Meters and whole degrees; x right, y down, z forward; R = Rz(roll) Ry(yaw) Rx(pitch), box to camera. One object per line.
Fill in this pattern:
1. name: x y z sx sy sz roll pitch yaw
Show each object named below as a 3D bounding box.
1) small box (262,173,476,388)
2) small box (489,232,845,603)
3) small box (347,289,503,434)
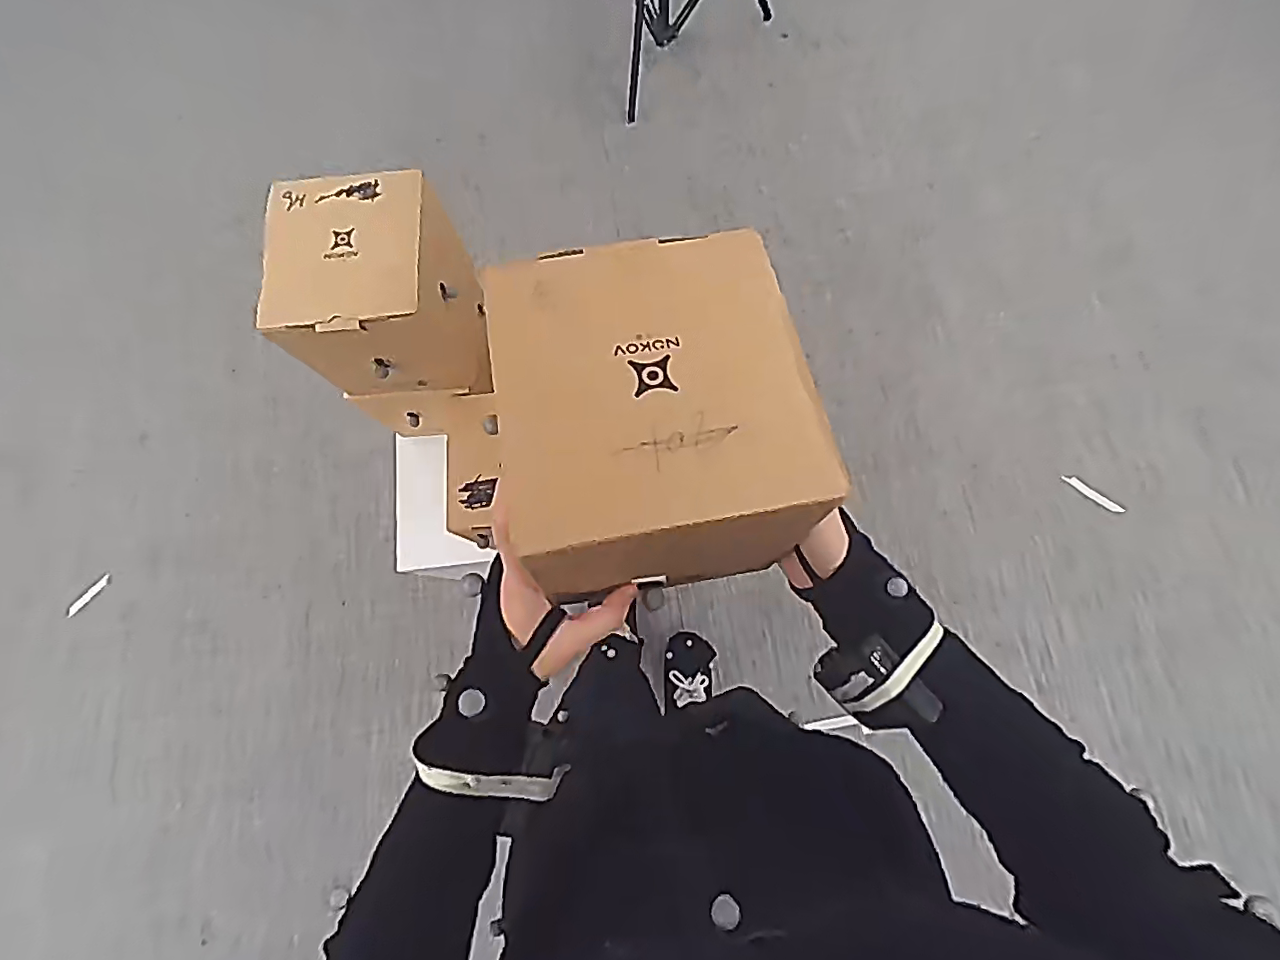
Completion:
1. small box: -0.297 -0.215 0.629 0.168 0.176 0.179 -4 77 1
2. small box: 0.004 -0.029 0.361 0.168 0.176 0.179 -9 70 -5
3. small box: -0.296 -0.170 0.787 0.168 0.176 0.179 -3 77 1
